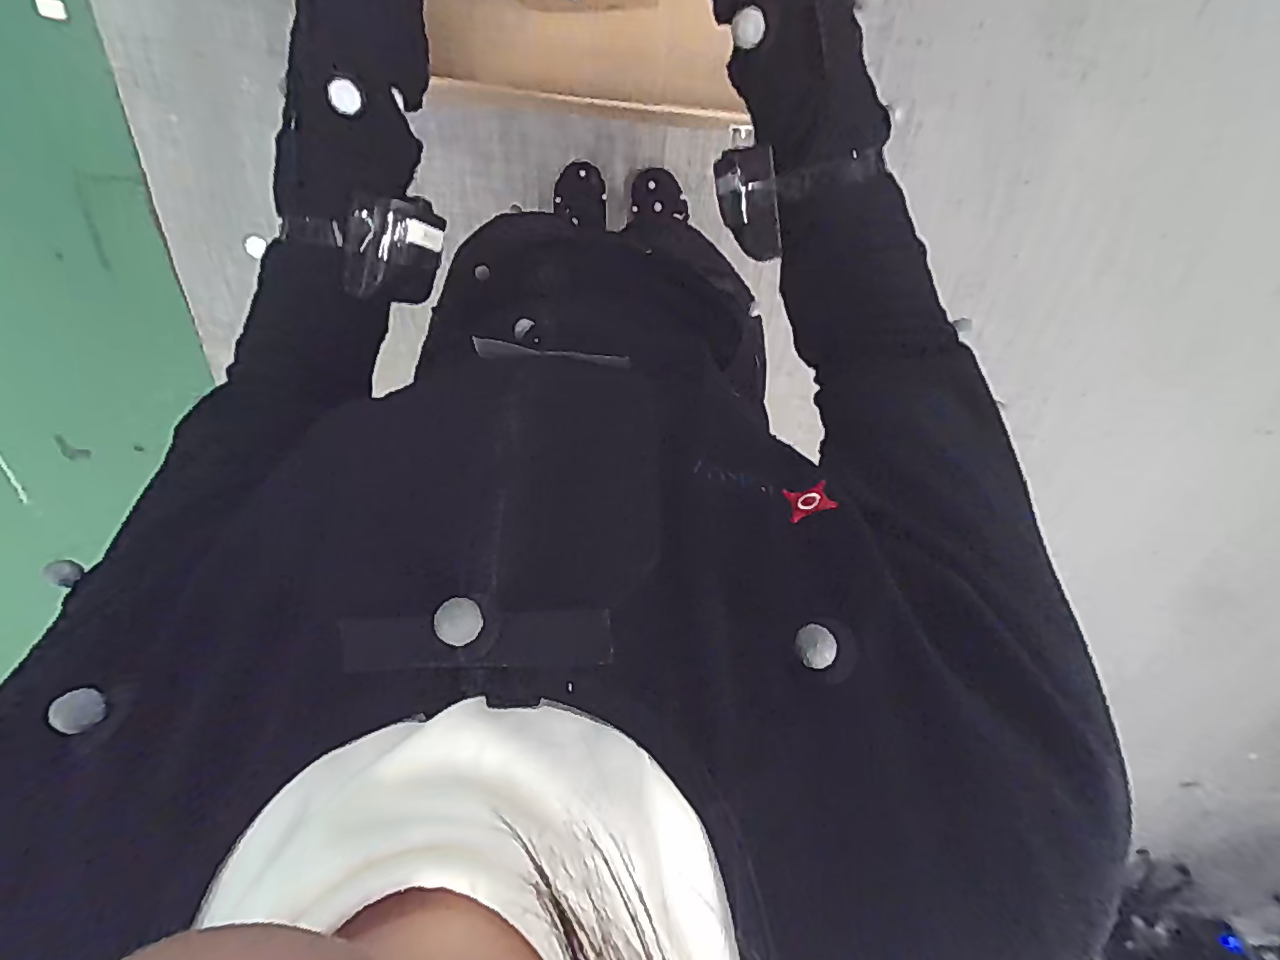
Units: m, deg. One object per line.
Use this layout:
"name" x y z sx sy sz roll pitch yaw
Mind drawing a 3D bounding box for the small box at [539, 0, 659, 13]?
"small box" -0.056 -0.649 0.595 0.168 0.176 0.179 -1 121 1
